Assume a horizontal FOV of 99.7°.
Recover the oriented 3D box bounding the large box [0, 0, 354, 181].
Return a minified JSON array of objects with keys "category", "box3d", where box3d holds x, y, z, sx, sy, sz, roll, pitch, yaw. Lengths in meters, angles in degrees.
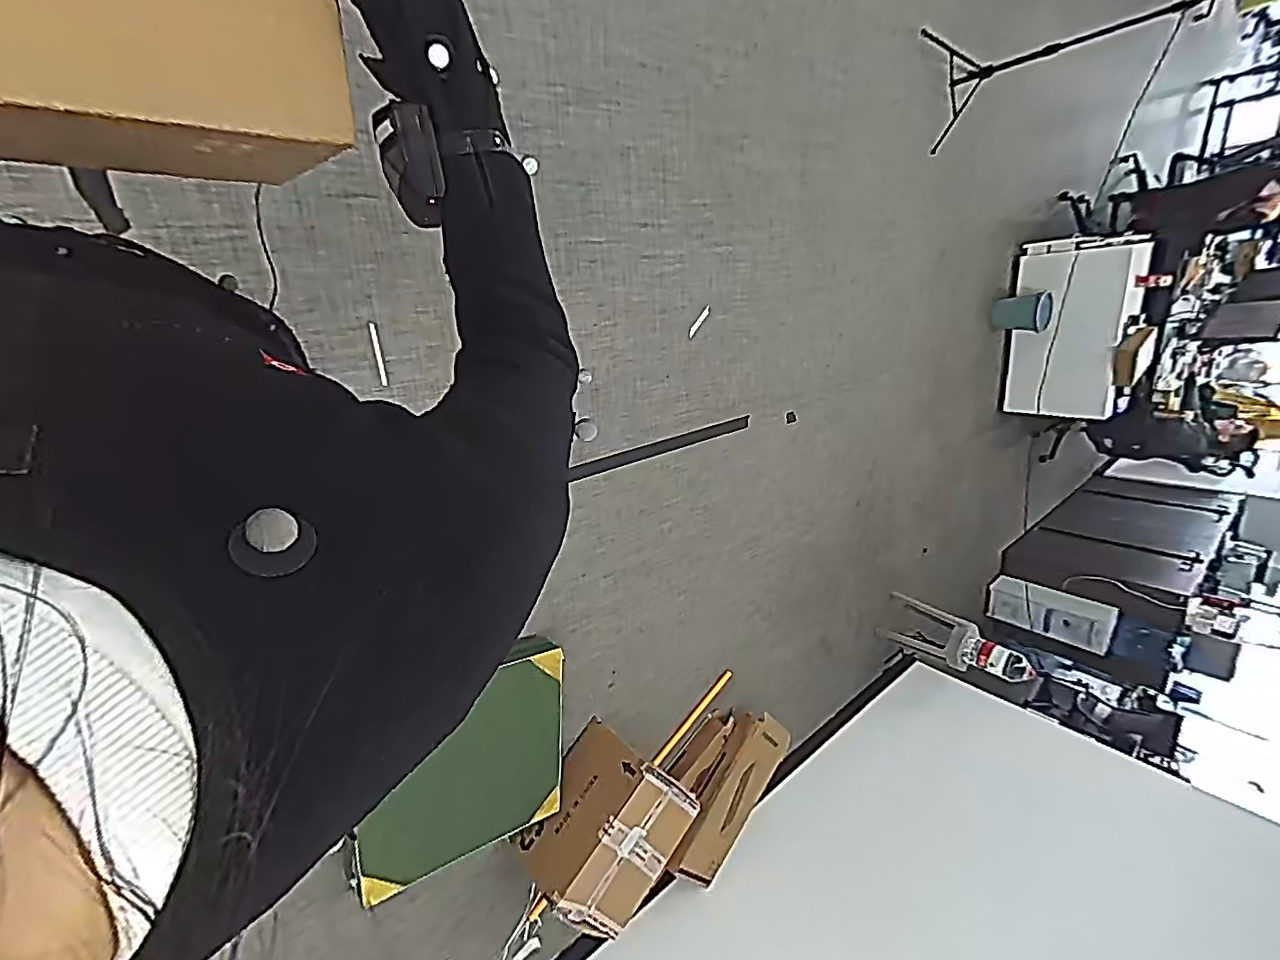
[{"category":"large box","box3d":[-0.445,-0.369,0.306,0.408,0.320,0.320,-17,120,-36]}]
